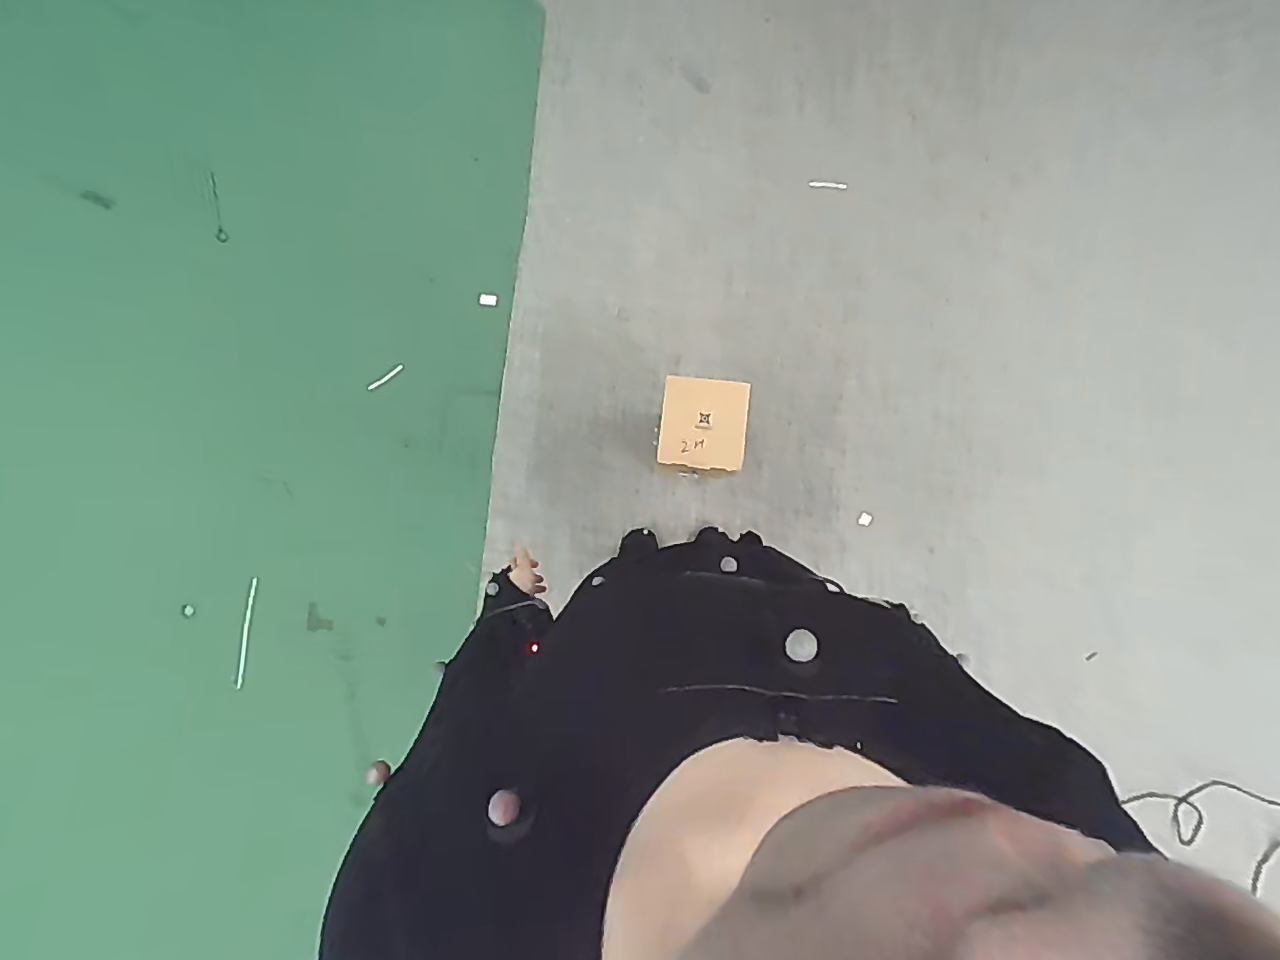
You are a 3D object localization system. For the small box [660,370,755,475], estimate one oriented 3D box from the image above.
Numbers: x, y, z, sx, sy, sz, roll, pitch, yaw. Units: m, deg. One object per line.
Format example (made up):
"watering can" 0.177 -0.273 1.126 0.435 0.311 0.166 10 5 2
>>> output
"small box" 0.132 -0.111 1.107 0.168 0.176 0.179 7 87 4
